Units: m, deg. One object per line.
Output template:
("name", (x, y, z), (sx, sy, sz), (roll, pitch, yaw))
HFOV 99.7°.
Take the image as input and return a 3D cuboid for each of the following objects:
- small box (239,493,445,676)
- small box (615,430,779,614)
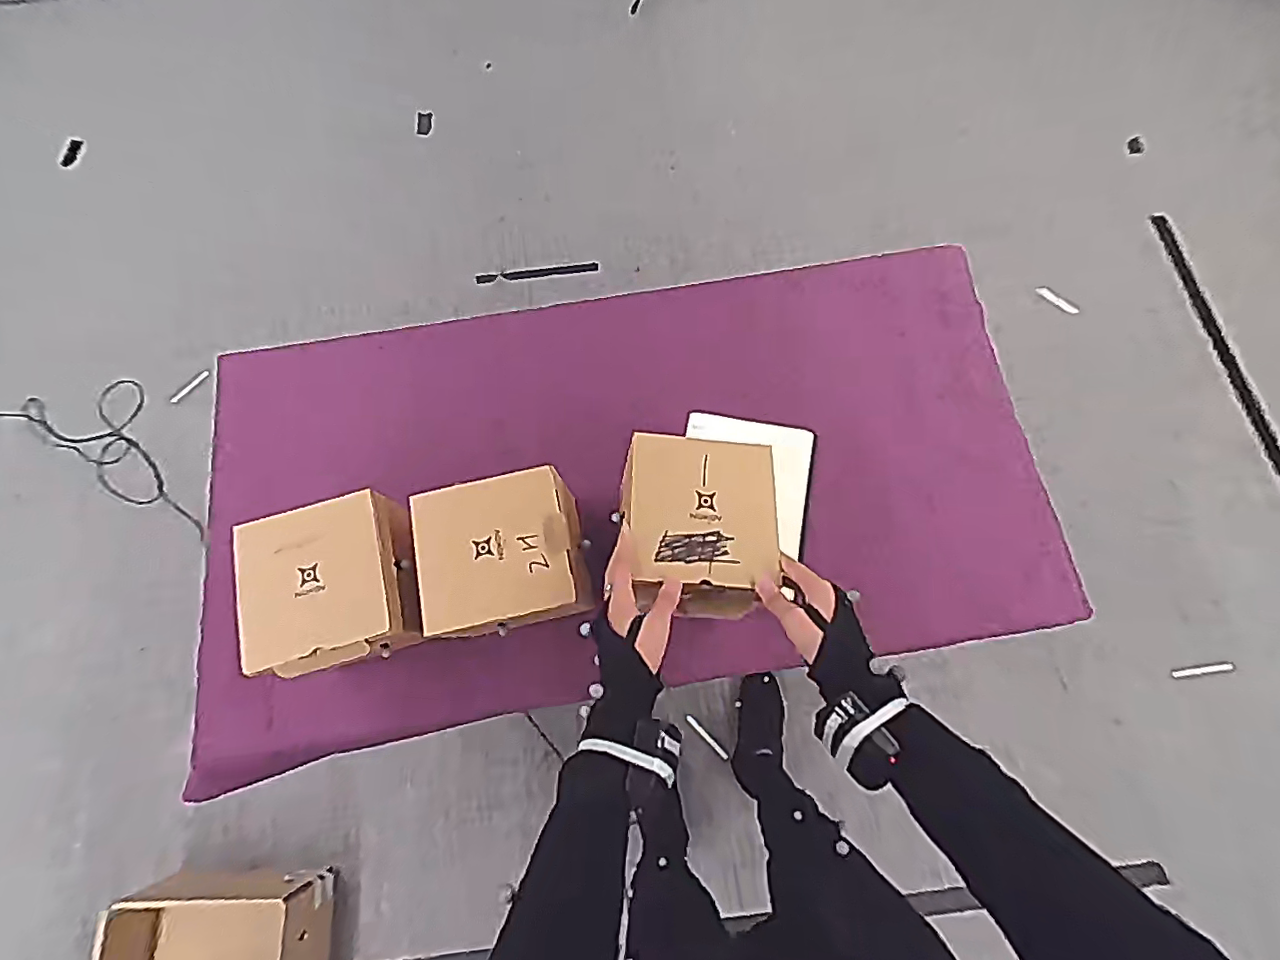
("small box", (-0.368, 0.136, 0.695), (0.168, 0.176, 0.179), (-16, 74, -3))
("small box", (0.060, 0.061, 0.660), (0.168, 0.176, 0.179), (5, 65, -6))
